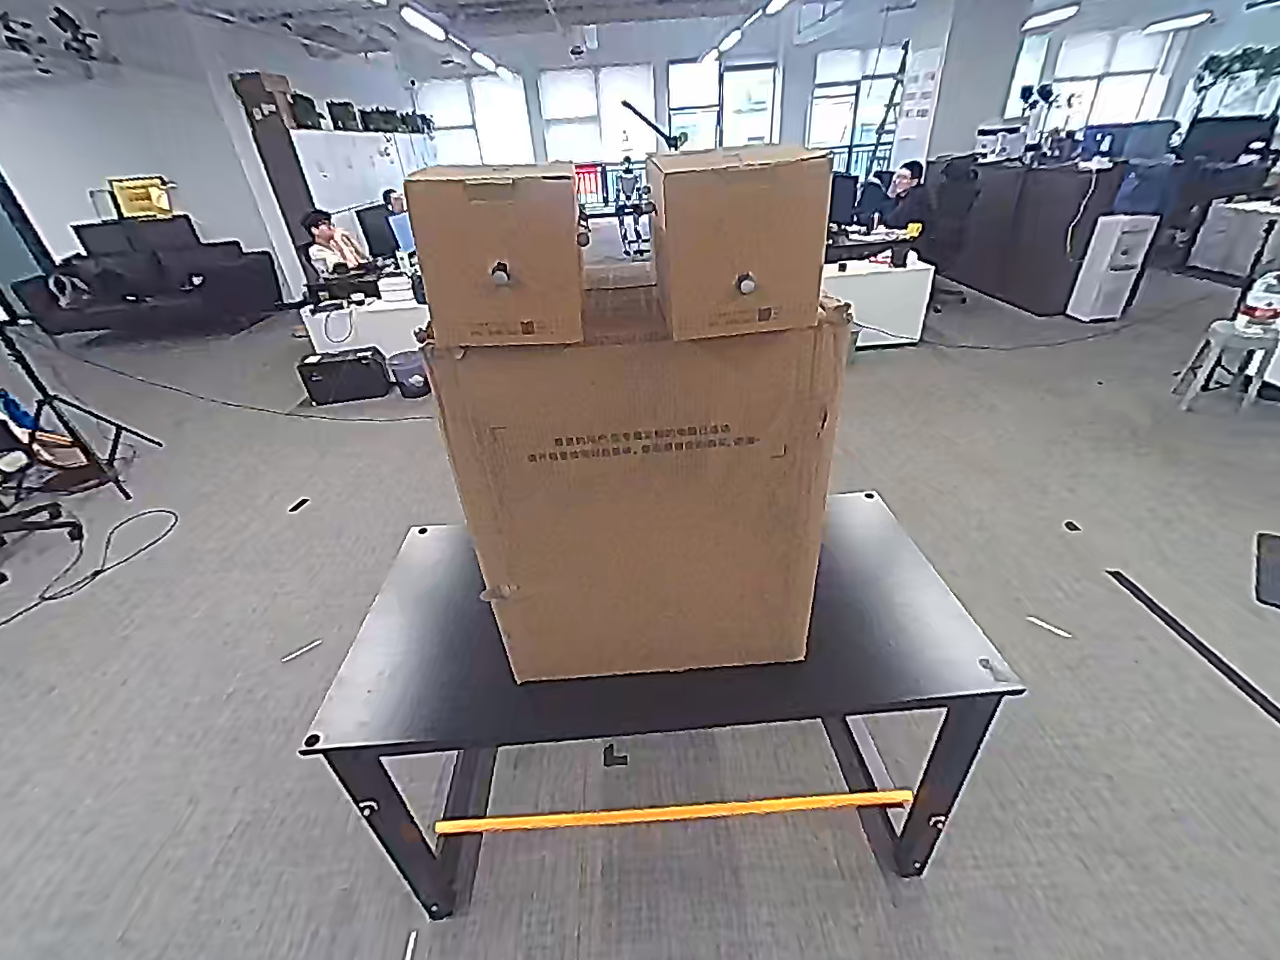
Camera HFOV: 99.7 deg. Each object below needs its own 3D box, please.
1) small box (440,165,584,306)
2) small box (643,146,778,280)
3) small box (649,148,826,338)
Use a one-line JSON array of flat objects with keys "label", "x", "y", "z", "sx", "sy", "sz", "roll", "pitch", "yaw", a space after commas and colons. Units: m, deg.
[{"label": "small box", "x": -0.176, "y": -0.365, "z": 0.803, "sx": 0.168, "sy": 0.176, "sz": 0.179, "roll": -5, "pitch": 32, "yaw": -1}, {"label": "small box", "x": 0.096, "y": -0.384, "z": 0.795, "sx": 0.168, "sy": 0.176, "sz": 0.179, "roll": -7, "pitch": 32, "yaw": -1}, {"label": "small box", "x": 0.101, "y": -0.280, "z": 0.636, "sx": 0.168, "sy": 0.176, "sz": 0.179, "roll": -7, "pitch": 35, "yaw": 0}]
